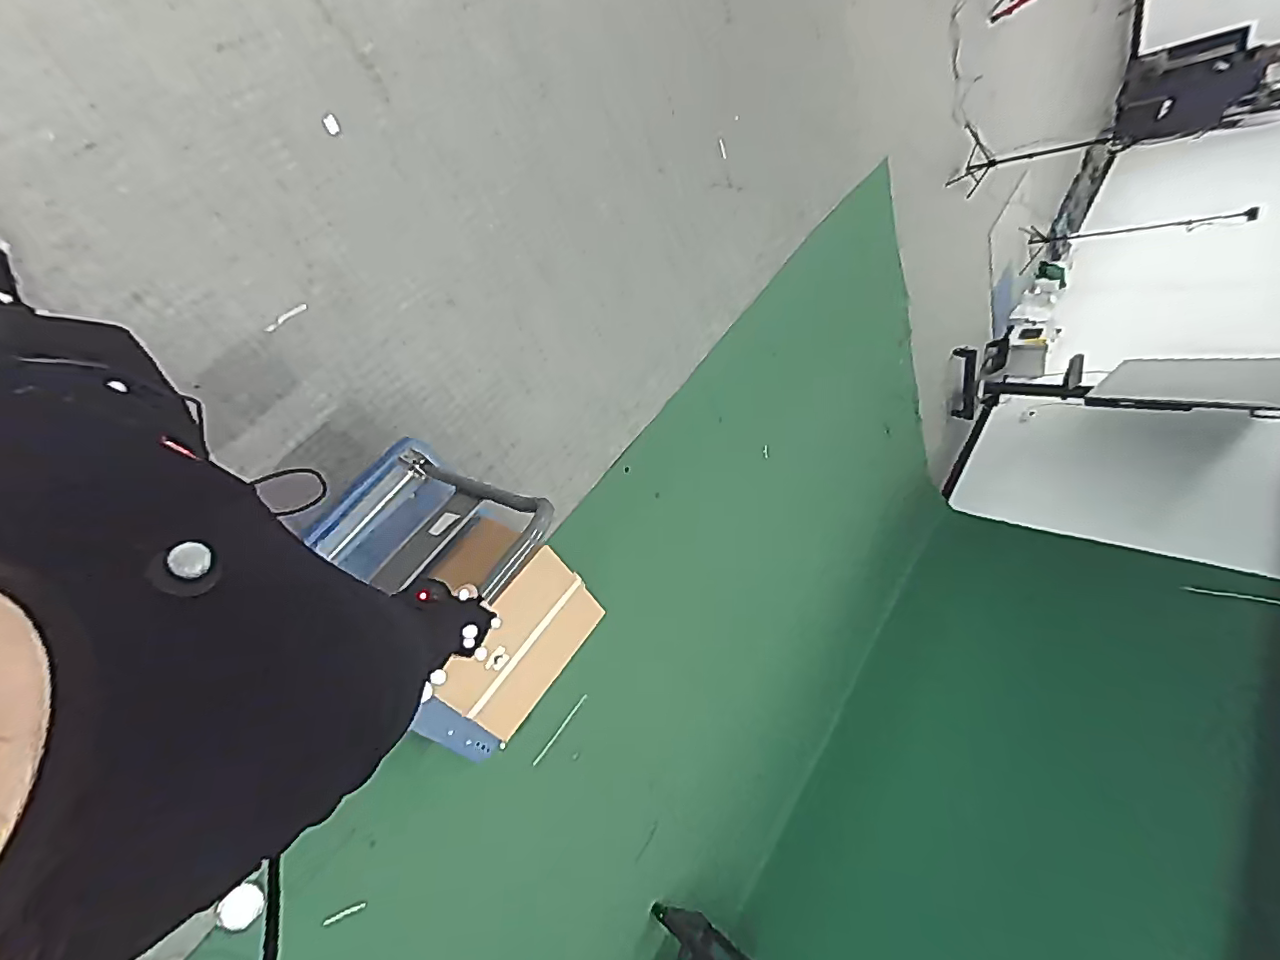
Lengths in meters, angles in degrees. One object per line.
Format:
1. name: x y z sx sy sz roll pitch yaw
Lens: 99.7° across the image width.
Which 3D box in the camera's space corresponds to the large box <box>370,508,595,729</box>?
1. large box: -0.400 0.341 1.411 0.408 0.320 0.320 -50 130 -23
